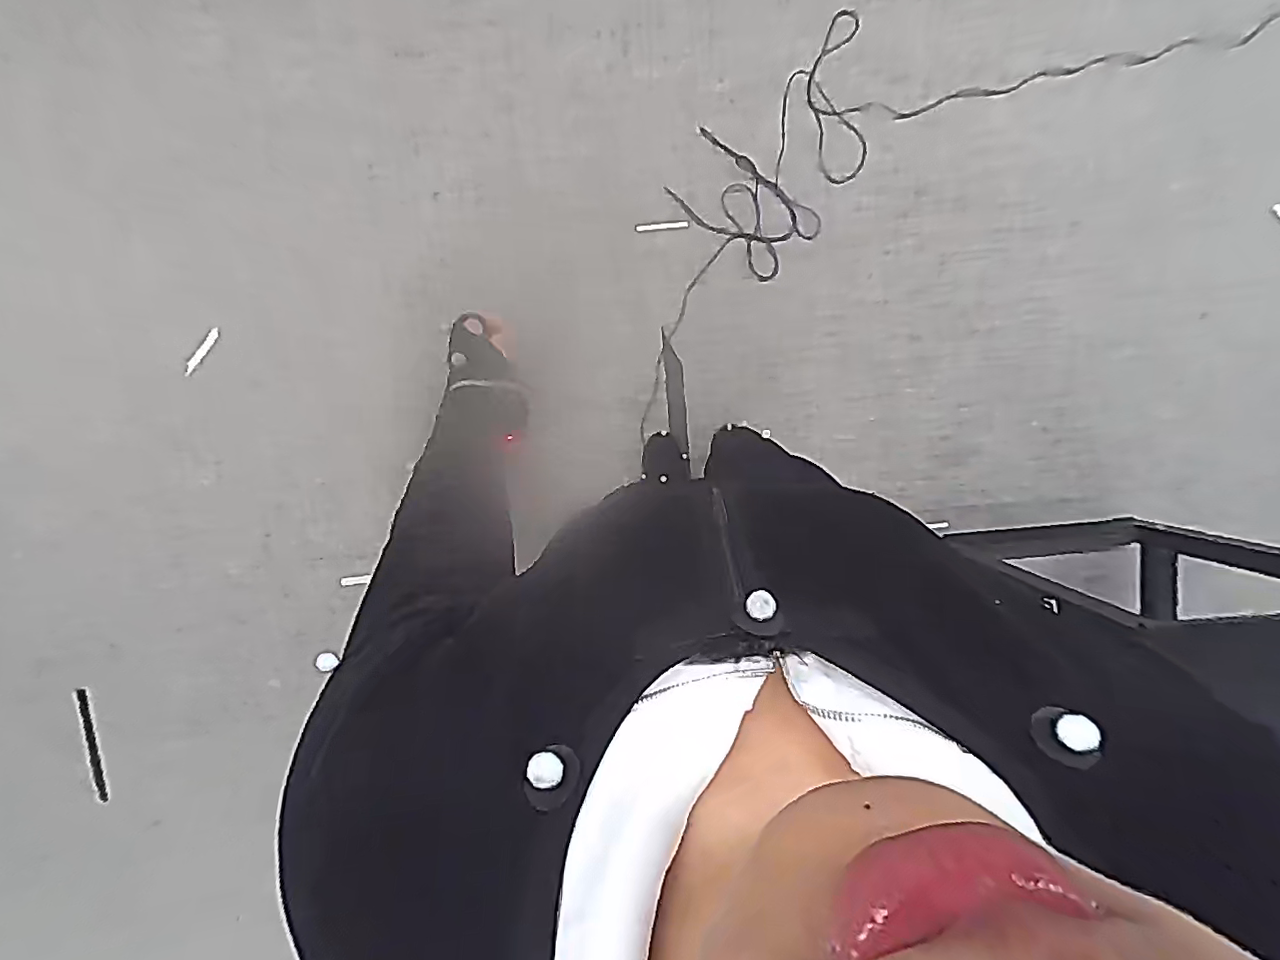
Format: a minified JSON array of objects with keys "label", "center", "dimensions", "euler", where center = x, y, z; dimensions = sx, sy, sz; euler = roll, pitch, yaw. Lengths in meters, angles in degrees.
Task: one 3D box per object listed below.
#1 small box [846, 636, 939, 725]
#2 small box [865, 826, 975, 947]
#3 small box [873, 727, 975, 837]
[{"label":"small box","center":[0.672,0.531,1.452],"dimensions":[0.179,0.176,0.168],"euler":[-6,95,4]},{"label":"small box","center":[0.768,1.119,1.503],"dimensions":[0.179,0.176,0.168],"euler":[38,95,-2]},{"label":"small box","center":[0.764,0.817,1.477],"dimensions":[0.168,0.176,0.179],"euler":[16,95,0]}]
